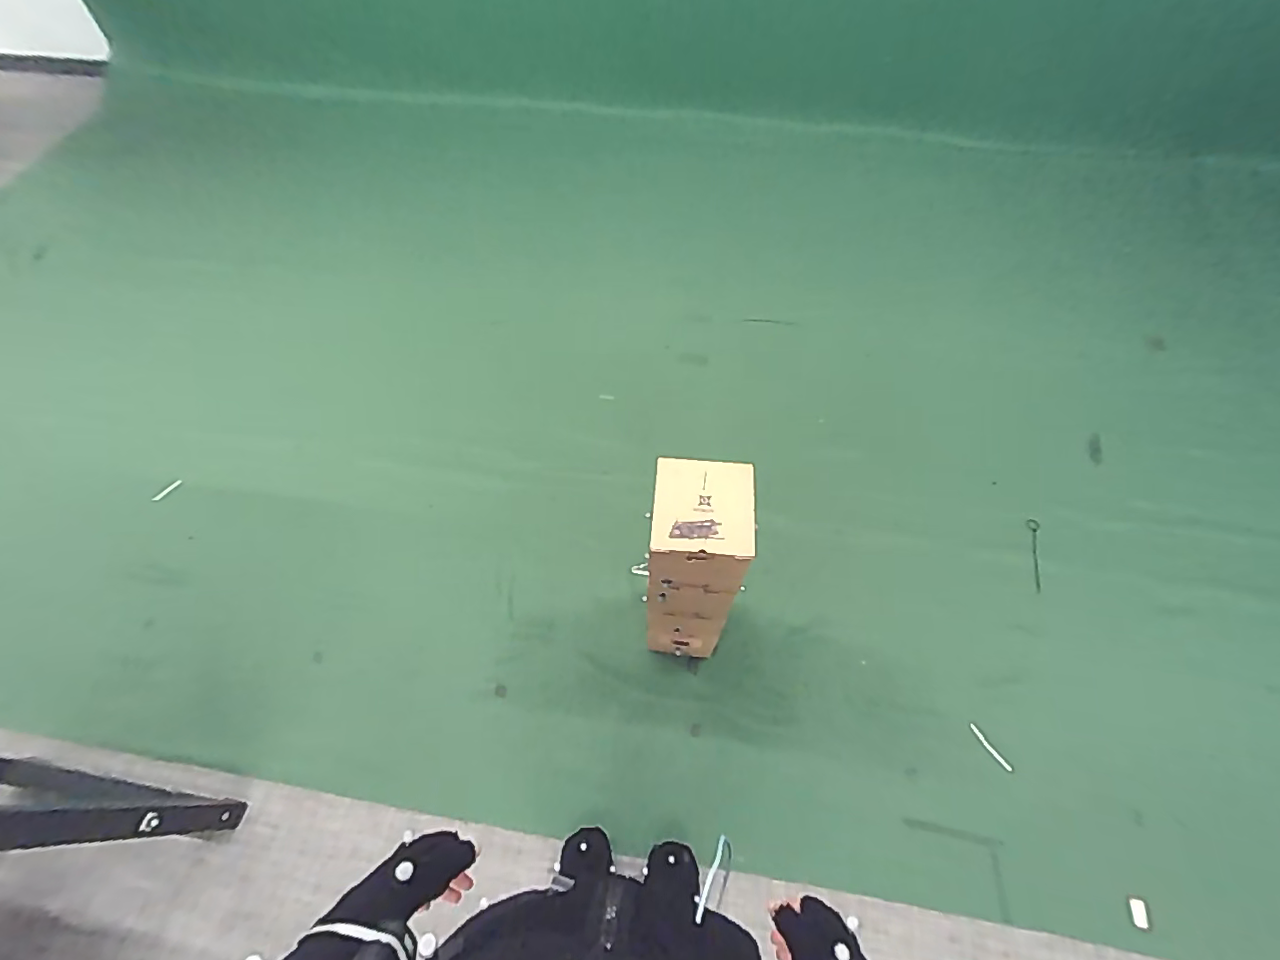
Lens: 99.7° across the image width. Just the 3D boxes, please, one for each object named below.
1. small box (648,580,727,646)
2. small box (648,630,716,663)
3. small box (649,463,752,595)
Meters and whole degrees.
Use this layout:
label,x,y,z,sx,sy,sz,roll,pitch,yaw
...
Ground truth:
label,x,y,z,sx,sy,sz,roll,pitch,yaw
small box,0.107,0.265,1.238,0.168,0.176,0.179,5,60,3
small box,0.110,0.349,1.376,0.168,0.176,0.179,6,59,5
small box,0.104,0.092,0.958,0.168,0.176,0.179,5,58,3
